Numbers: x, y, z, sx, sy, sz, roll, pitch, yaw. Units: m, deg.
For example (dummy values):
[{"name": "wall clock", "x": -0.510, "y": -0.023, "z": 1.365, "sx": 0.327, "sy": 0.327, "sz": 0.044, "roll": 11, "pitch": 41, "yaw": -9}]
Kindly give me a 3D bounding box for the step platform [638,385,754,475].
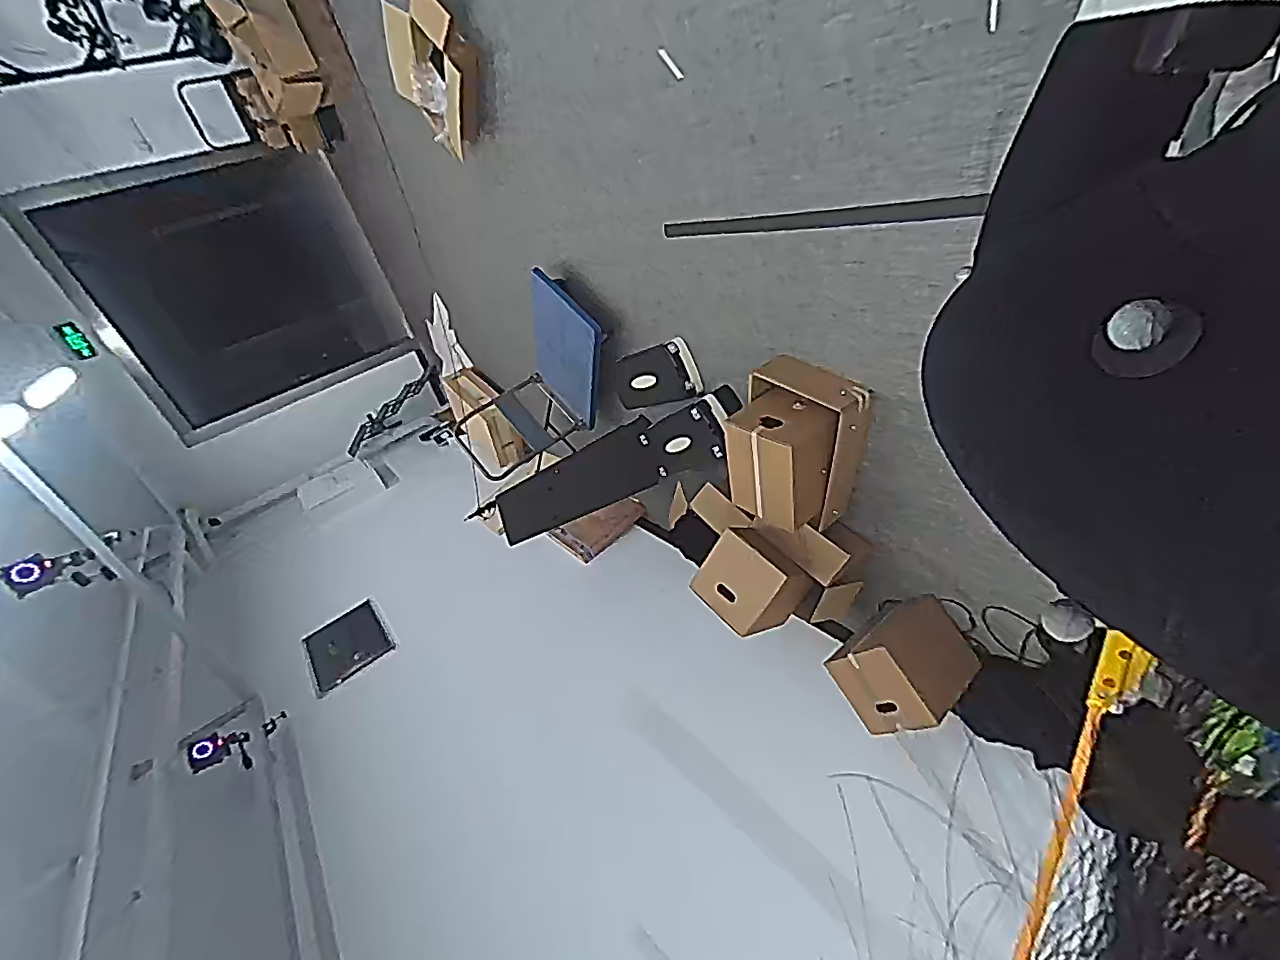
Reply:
[{"name": "step platform", "x": 0.247, "y": -0.224, "z": 2.668, "sx": 0.286, "sy": 0.204, "sz": 0.684, "roll": 59, "pitch": 154, "yaw": -5}]
